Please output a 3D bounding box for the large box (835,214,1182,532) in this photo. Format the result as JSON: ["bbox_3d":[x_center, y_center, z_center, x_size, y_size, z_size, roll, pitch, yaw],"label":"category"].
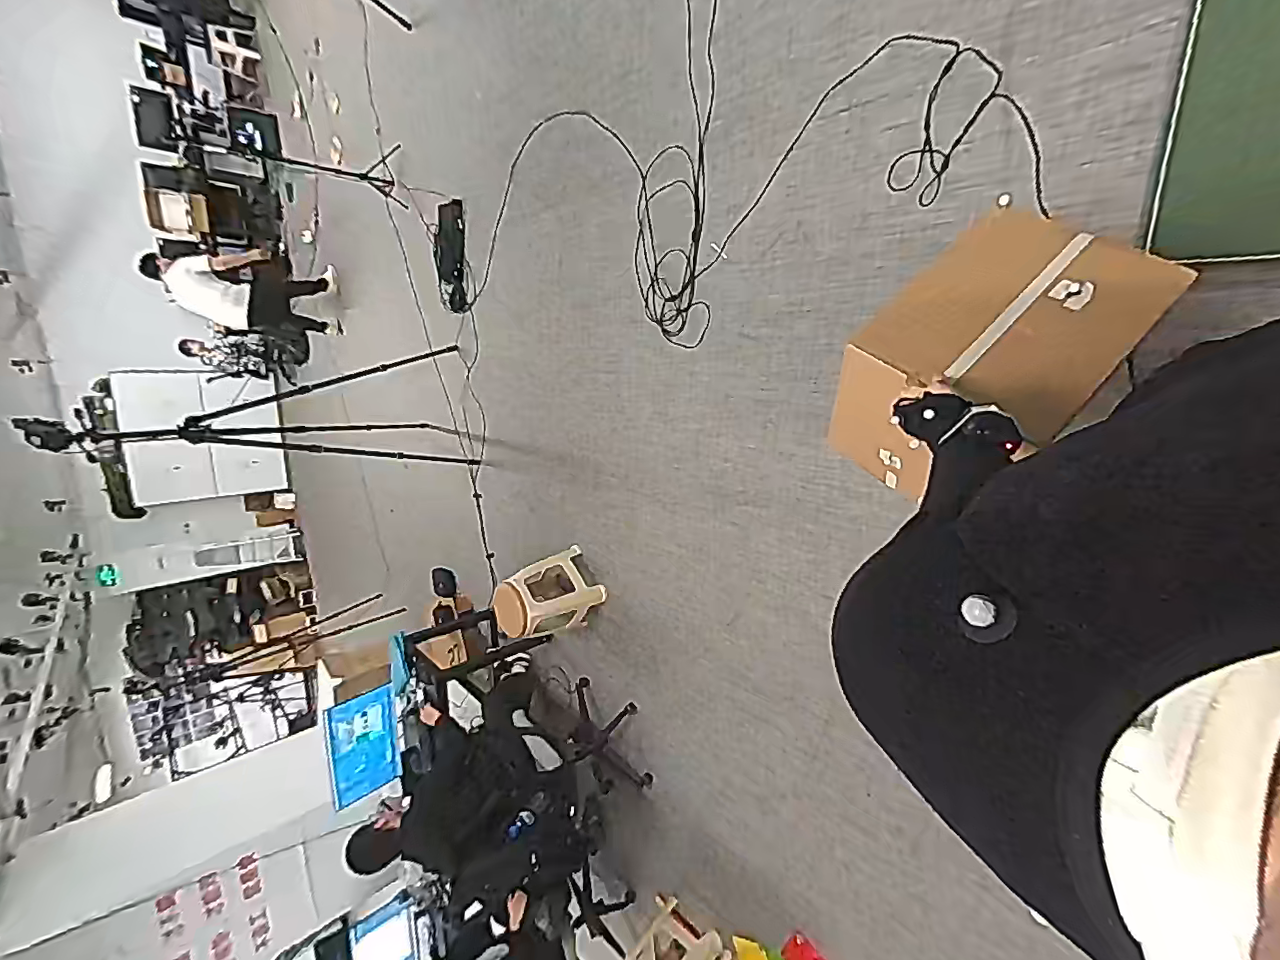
[{"bbox_3d":[0.613,-0.186,0.975,0.320,0.408,0.320,41,166,27],"label":"large box"}]
